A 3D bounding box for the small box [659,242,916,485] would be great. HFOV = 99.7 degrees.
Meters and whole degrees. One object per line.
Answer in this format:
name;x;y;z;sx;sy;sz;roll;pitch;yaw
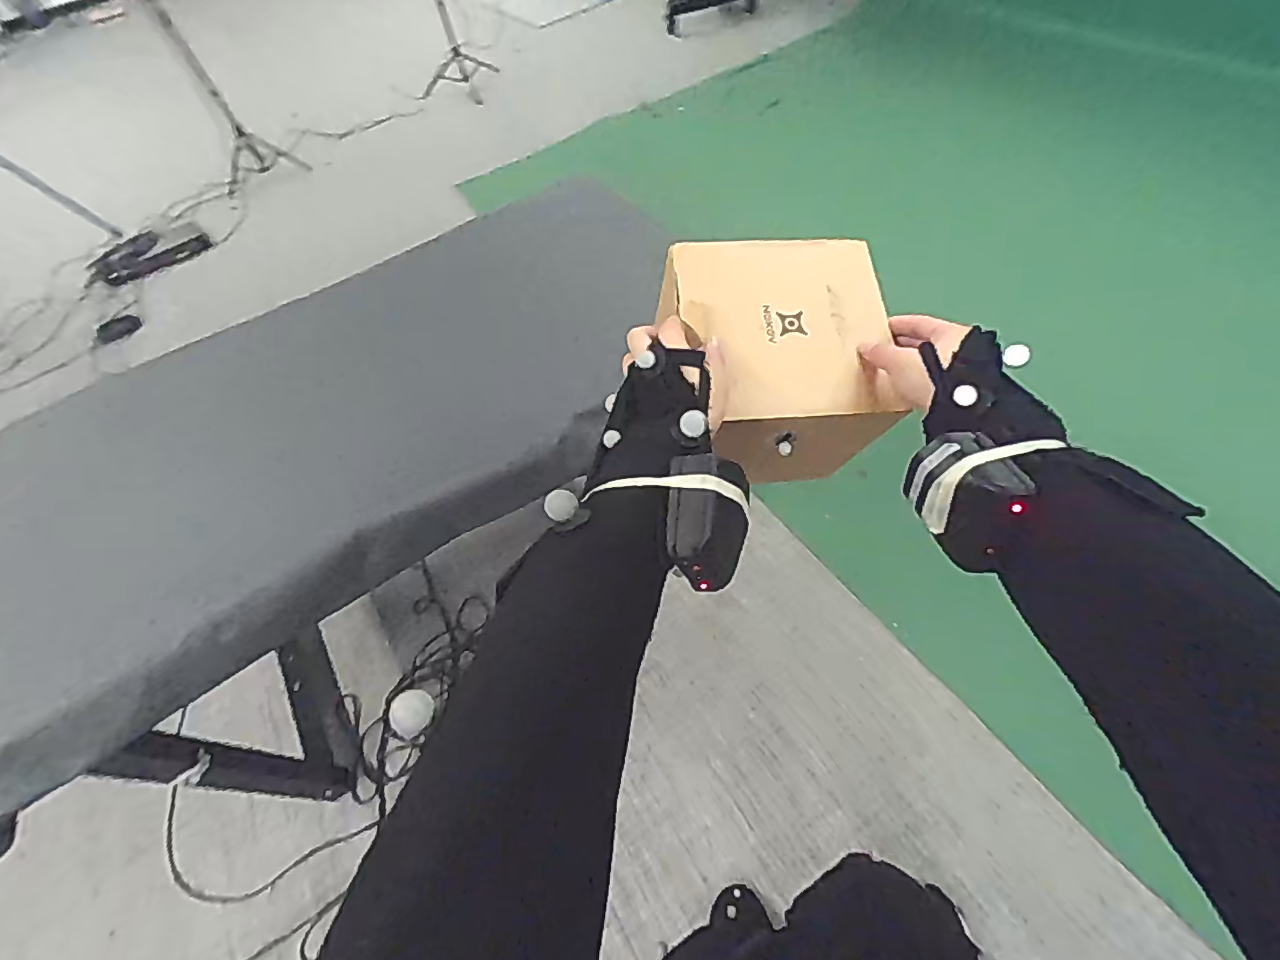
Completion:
small box;0.115;-0.098;0.510;0.179;0.176;0.168;-4;72;-7
